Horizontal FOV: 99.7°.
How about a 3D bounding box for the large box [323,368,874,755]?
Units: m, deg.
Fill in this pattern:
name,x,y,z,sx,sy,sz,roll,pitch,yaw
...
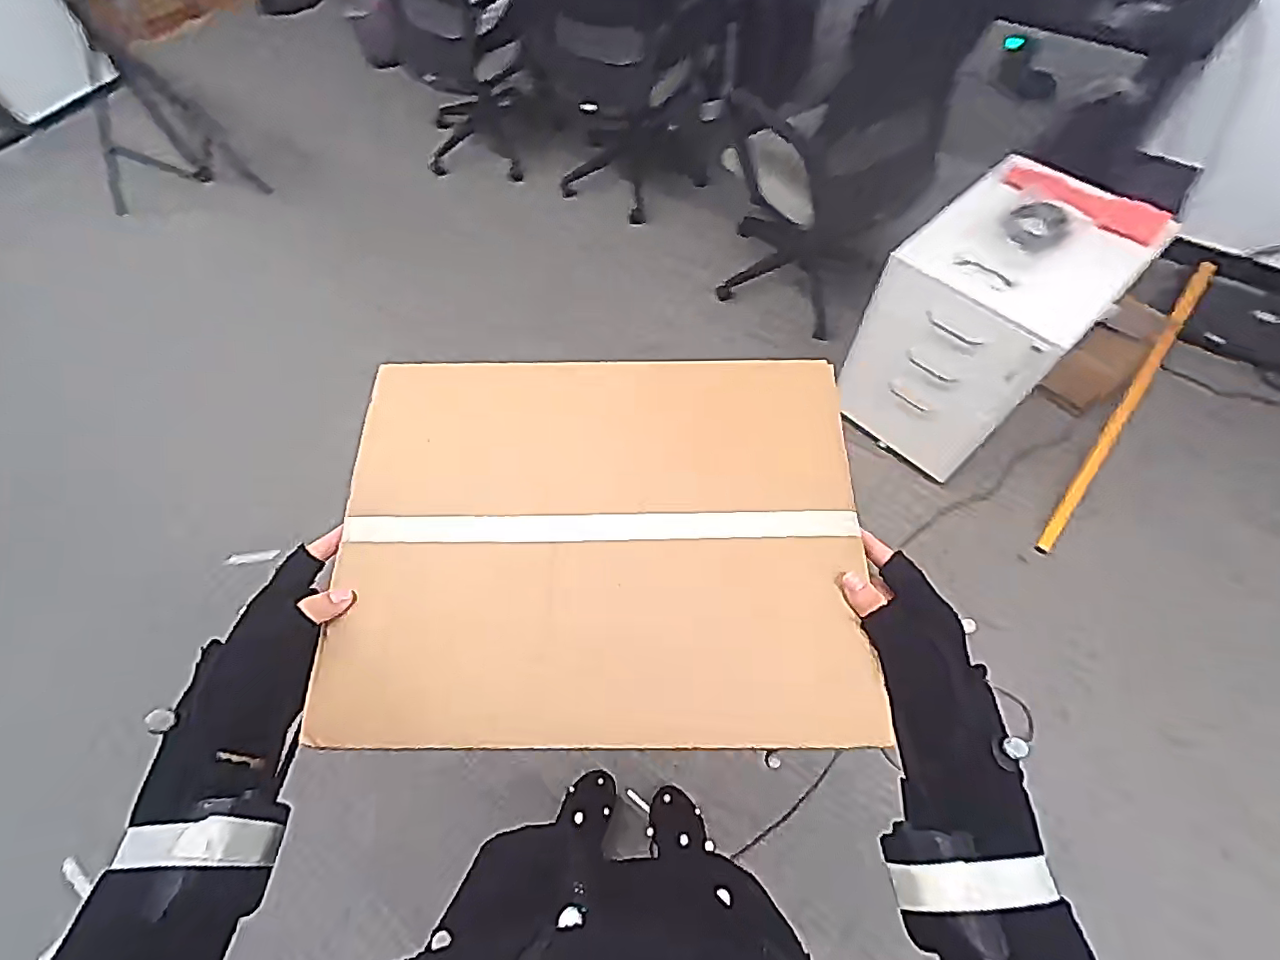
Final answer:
name,x,y,z,sx,sy,sz,roll,pitch,yaw
large box,-0.030,0.102,0.578,0.408,0.320,0.320,-2,66,1
